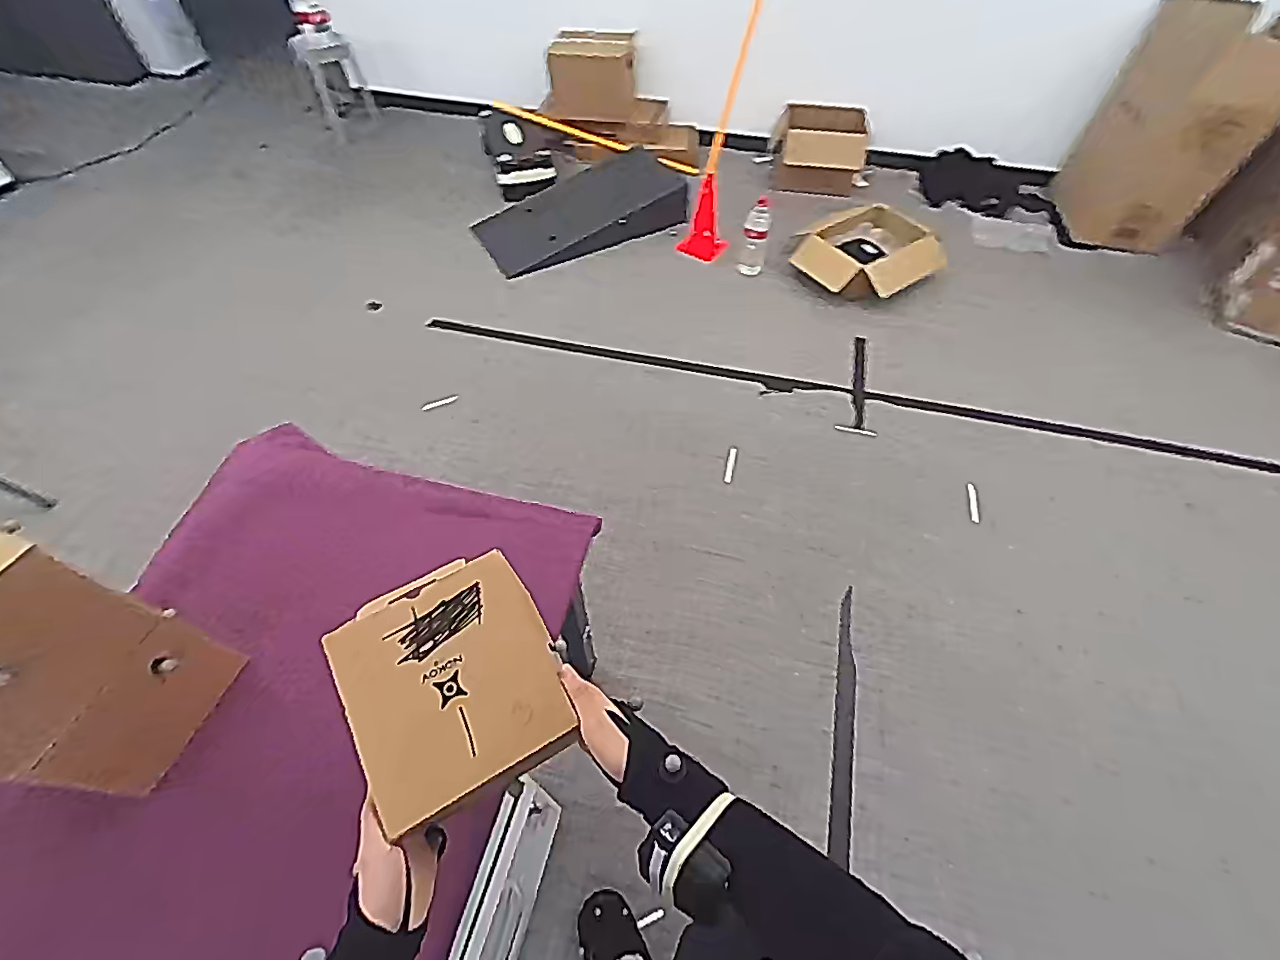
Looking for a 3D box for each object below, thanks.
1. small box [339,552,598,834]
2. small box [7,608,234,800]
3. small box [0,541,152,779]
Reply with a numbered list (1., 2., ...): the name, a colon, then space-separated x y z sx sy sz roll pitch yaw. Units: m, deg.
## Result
1. small box: -0.153 0.203 0.527 0.168 0.176 0.179 -27 67 -13
2. small box: -0.629 0.248 0.632 0.168 0.176 0.179 15 56 9
3. small box: -0.628 0.153 0.498 0.168 0.176 0.179 16 56 9
